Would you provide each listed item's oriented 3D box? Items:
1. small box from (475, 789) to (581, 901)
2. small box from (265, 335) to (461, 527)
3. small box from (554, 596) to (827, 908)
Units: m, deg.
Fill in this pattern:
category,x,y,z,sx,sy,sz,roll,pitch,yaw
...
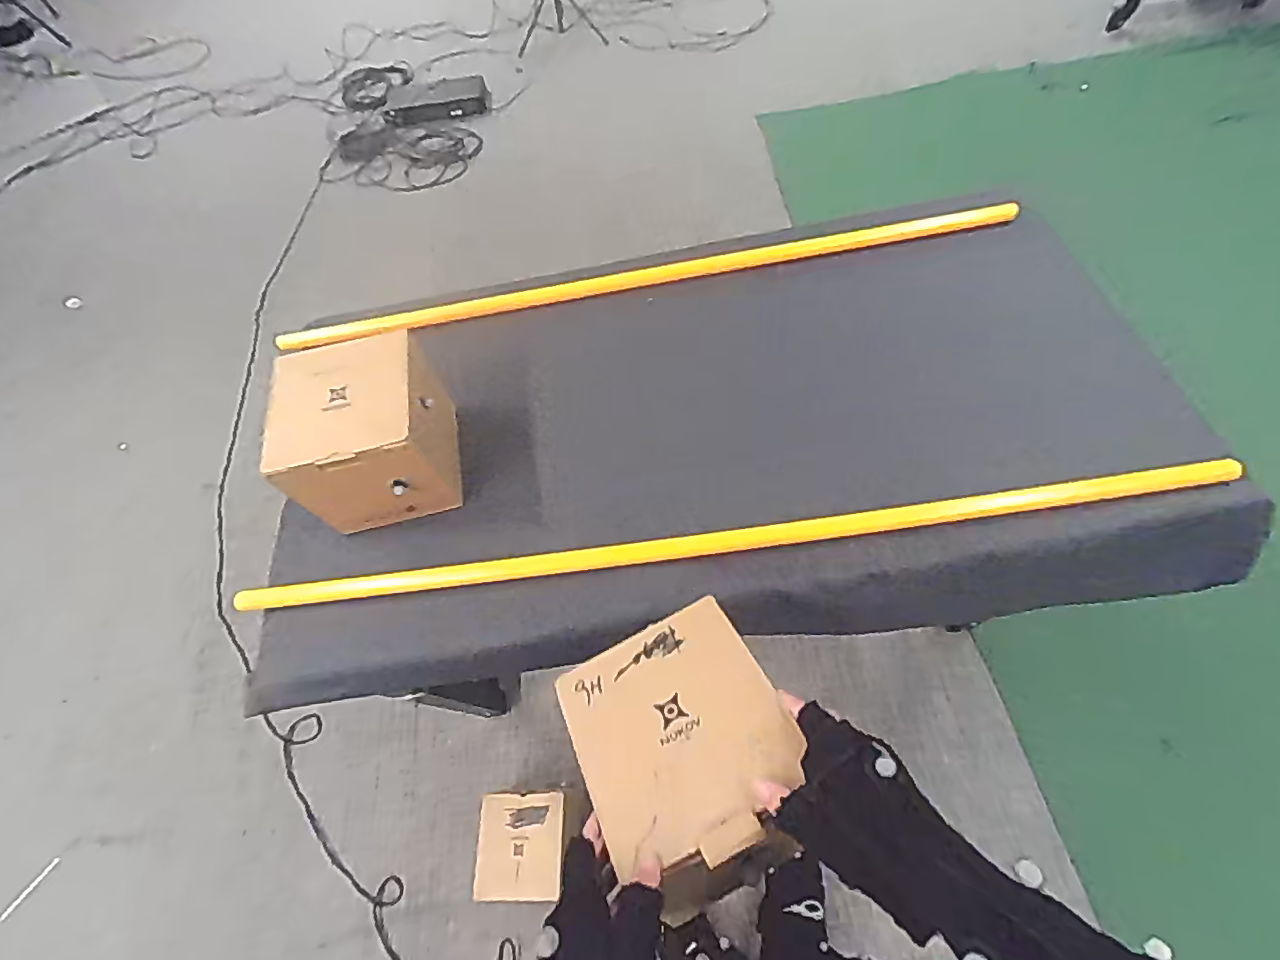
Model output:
category,x,y,z,sx,sy,sz,roll,pitch,yaw
small box,-0.217,0.731,1.100,0.168,0.176,0.179,-3,63,5
small box,-0.343,-0.053,0.704,0.168,0.176,0.179,-13,60,-3
small box,0.050,0.247,0.488,0.168,0.176,0.179,-30,44,-7
